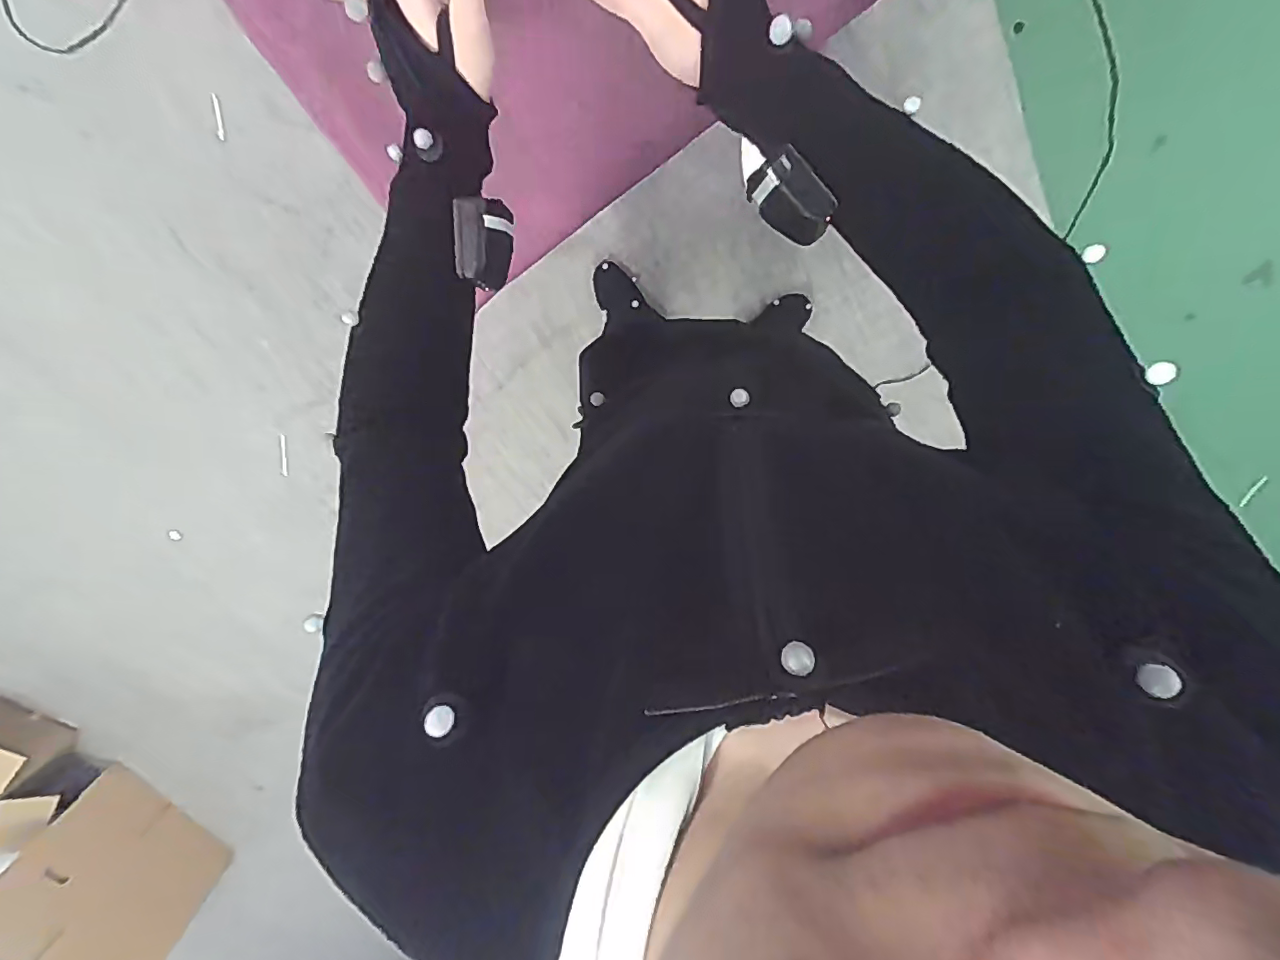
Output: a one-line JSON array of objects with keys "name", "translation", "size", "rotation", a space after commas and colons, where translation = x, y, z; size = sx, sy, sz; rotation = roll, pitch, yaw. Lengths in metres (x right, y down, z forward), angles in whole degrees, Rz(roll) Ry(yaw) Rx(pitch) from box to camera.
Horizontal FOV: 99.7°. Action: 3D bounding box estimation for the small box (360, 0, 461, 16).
[{"name": "small box", "translation": [-0.280, -0.612, 0.550], "size": [0.179, 0.176, 0.168], "rotation": [7, 114, -5]}]
